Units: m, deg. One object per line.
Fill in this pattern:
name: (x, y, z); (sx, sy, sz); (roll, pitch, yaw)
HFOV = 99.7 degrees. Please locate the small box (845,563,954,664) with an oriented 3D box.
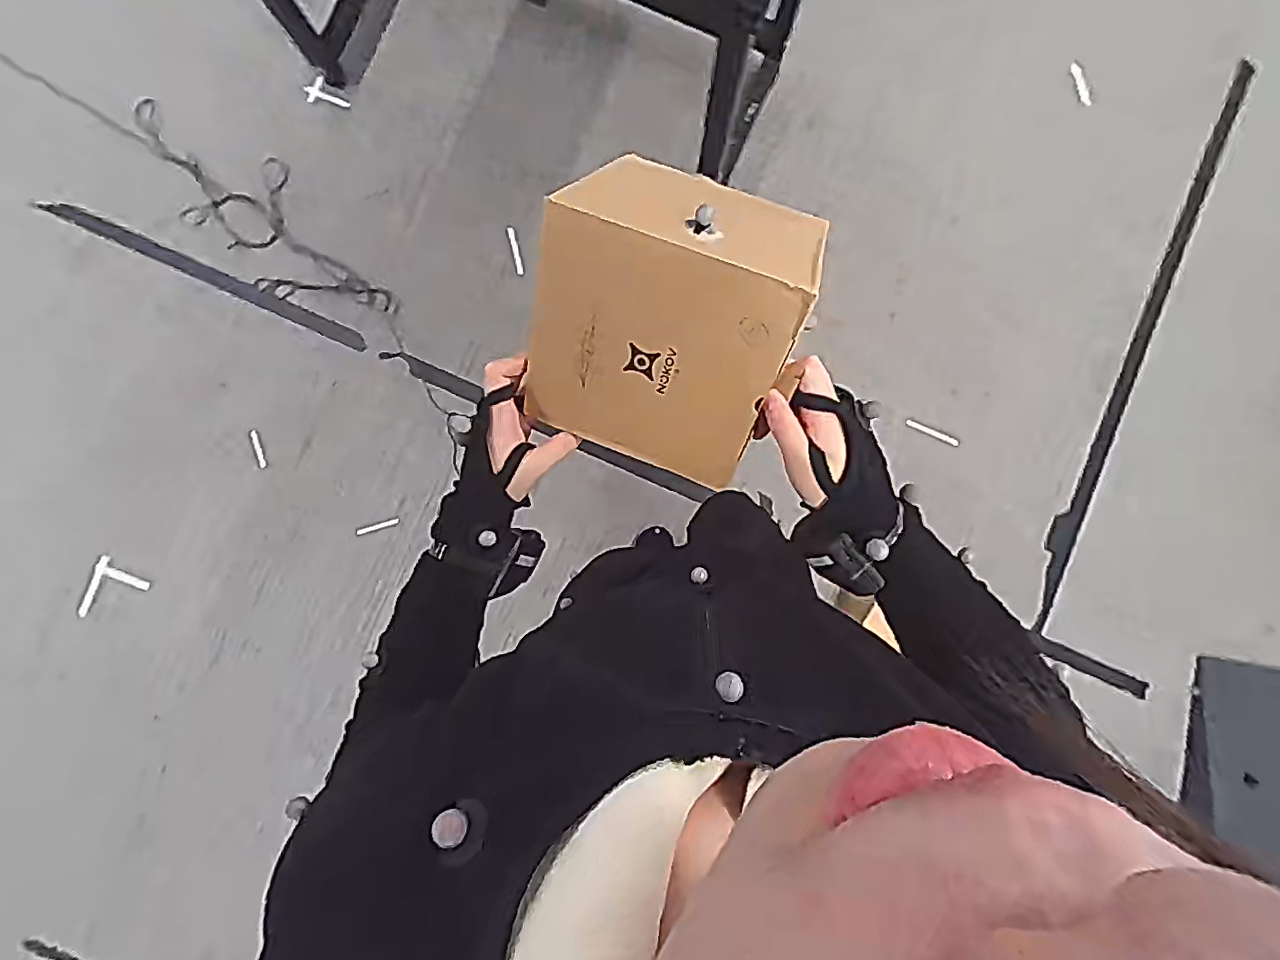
small box: (0.652, 0.333, 1.388); (0.168, 0.176, 0.179); (29, 89, 1)

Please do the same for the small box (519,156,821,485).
small box: (0.026, -0.131, 0.421); (0.179, 0.176, 0.168); (21, 131, 4)
